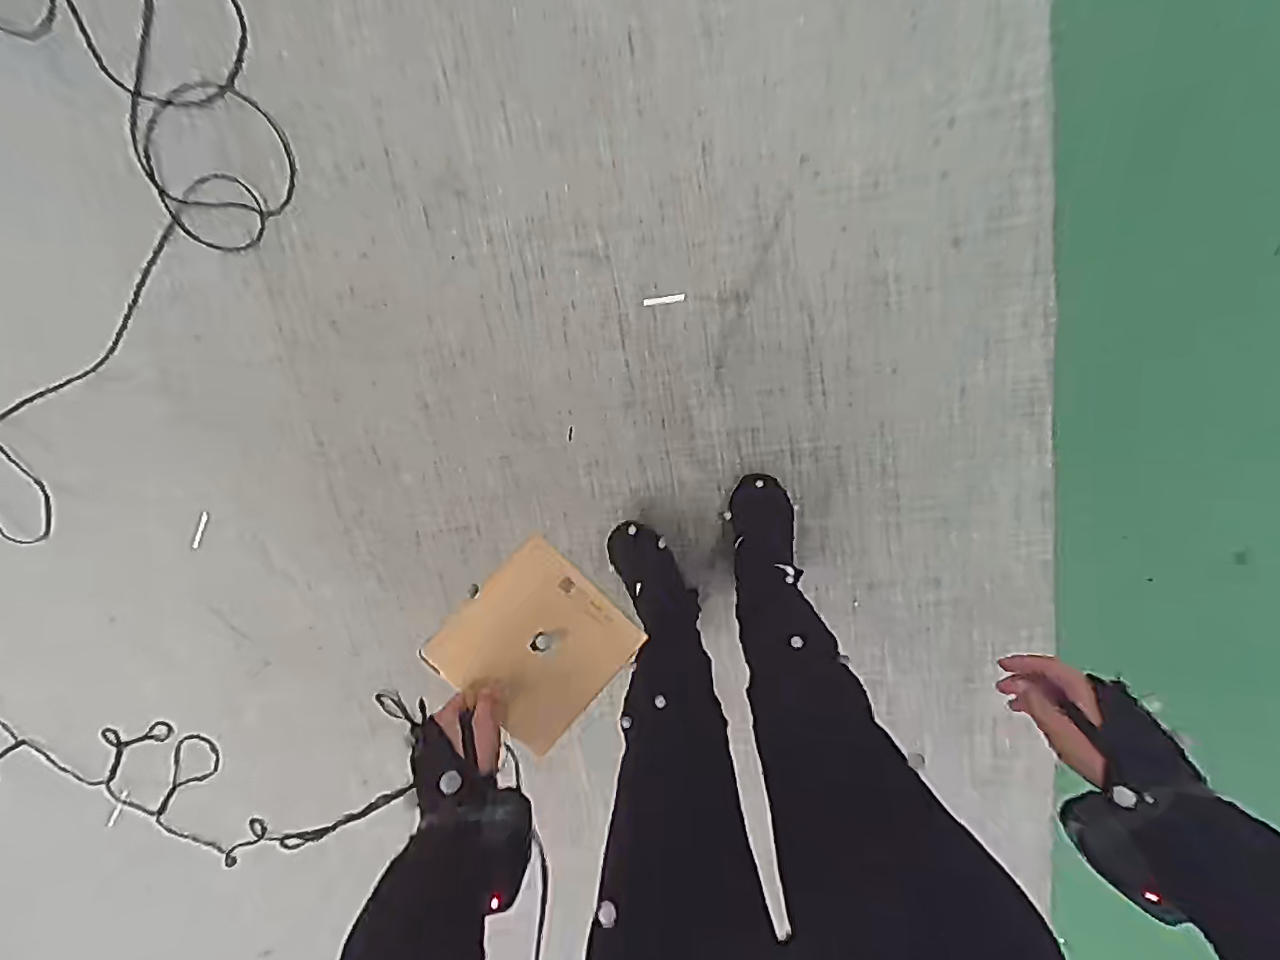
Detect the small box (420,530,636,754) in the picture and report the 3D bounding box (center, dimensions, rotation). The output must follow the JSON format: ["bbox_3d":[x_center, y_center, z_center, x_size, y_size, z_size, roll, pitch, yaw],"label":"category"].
[{"bbox_3d":[-0.126,0.174,0.643,0.168,0.179,0.176,45,79,-6],"label":"small box"}]
